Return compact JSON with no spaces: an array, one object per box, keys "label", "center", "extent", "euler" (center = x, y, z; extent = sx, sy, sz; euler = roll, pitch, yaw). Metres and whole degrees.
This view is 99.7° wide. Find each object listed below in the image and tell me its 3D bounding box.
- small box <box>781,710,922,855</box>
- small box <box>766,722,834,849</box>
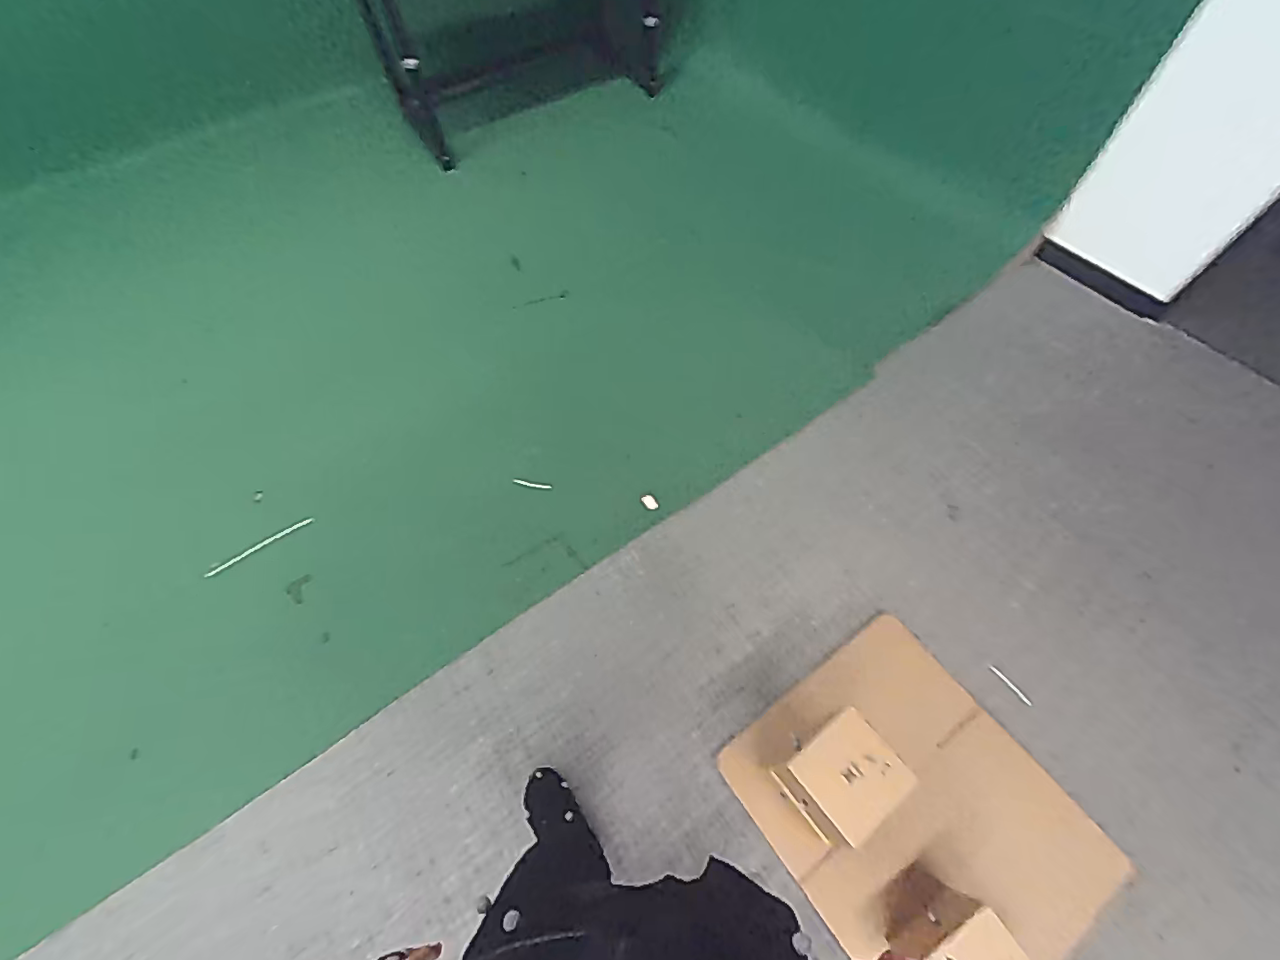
[{"label":"small box","center":[0.390,0.576,1.037],"extent":[0.179,0.176,0.168],"euler":[-33,65,-16]},{"label":"small box","center":[0.392,0.663,1.178],"extent":[0.179,0.176,0.168],"euler":[-34,65,-17]}]
